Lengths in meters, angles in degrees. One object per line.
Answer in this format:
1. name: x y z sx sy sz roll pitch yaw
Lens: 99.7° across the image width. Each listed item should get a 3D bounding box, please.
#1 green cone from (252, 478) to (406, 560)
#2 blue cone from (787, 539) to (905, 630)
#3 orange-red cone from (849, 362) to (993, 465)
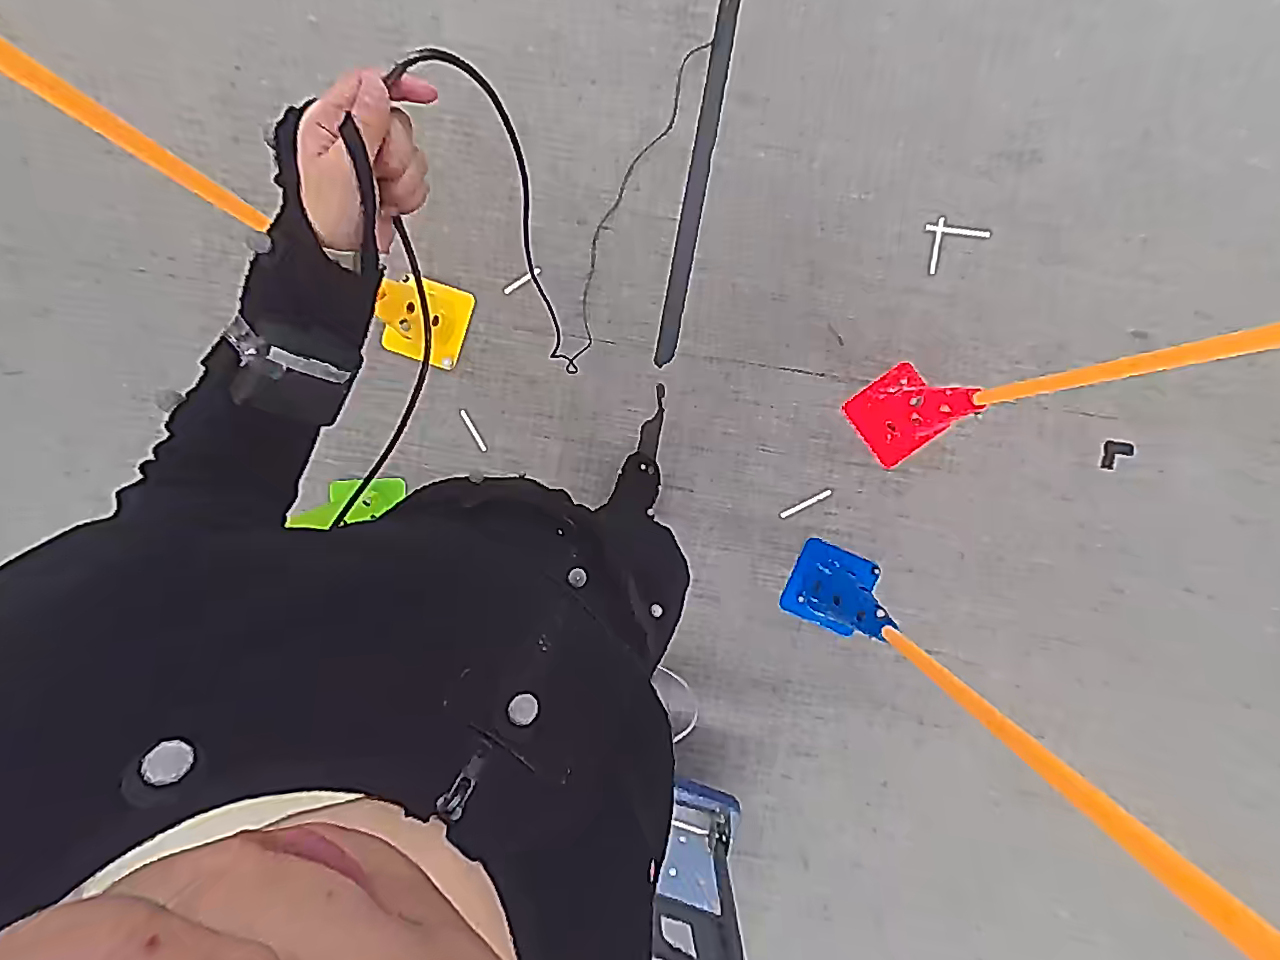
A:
1. green cone: -0.702 0.101 1.199 0.200 0.368 0.202 -4 90 2
2. blue cone: 0.468 0.262 1.169 0.193 0.380 0.192 25 92 2
3. orange-red cone: 0.620 -0.154 1.135 0.199 0.360 0.198 -35 89 4
